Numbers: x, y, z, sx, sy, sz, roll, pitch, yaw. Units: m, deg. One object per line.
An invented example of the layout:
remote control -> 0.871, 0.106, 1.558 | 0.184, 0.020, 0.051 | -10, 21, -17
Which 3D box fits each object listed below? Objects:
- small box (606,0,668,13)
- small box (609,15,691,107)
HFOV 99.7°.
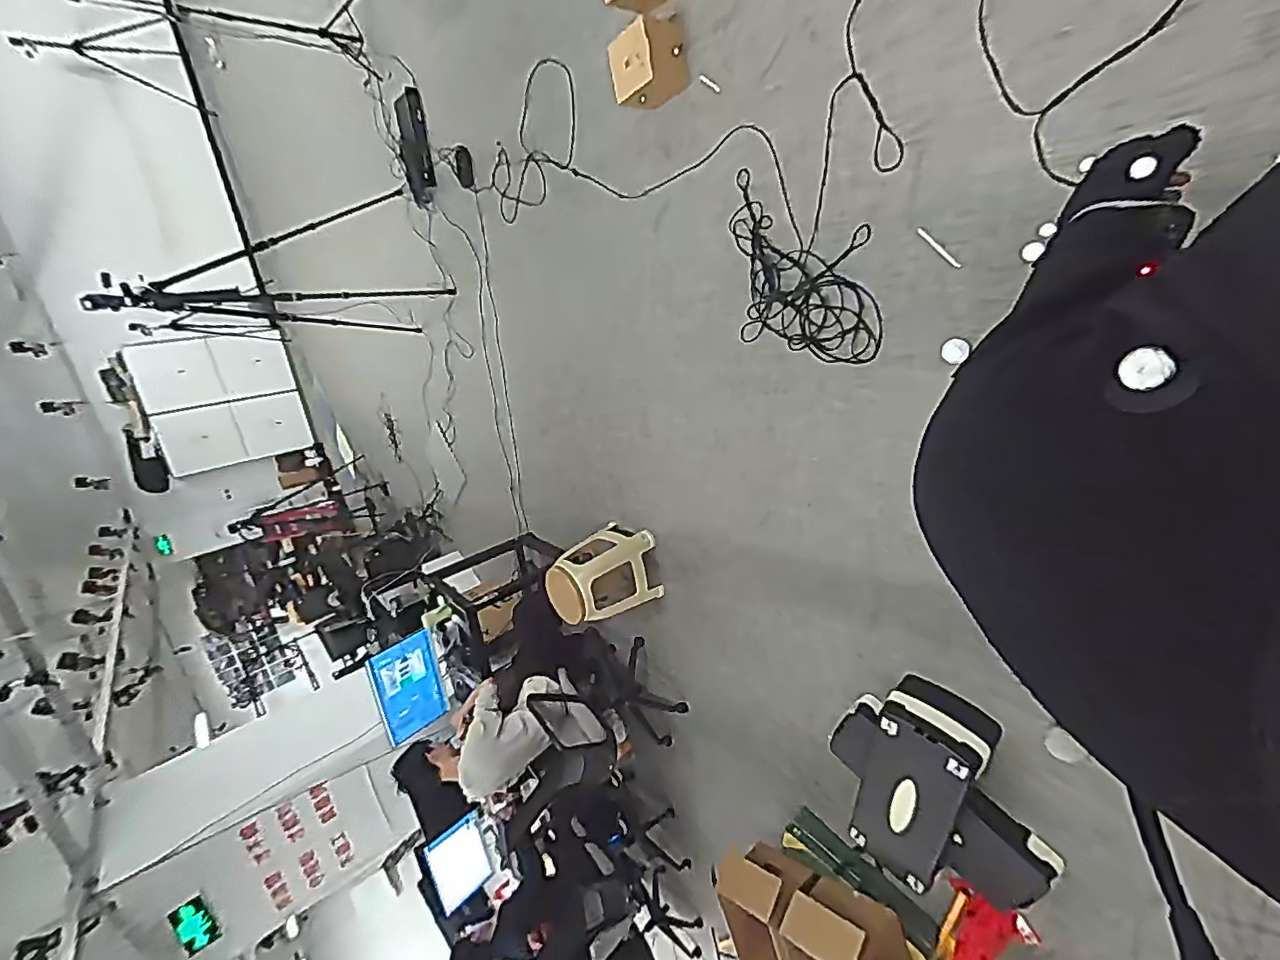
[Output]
small box -> 0.008, -1.533, 1.605 | 0.179, 0.176, 0.168 | 16, 120, 46
small box -> 0.032, -1.298, 1.692 | 0.179, 0.176, 0.168 | 5, 113, 50
